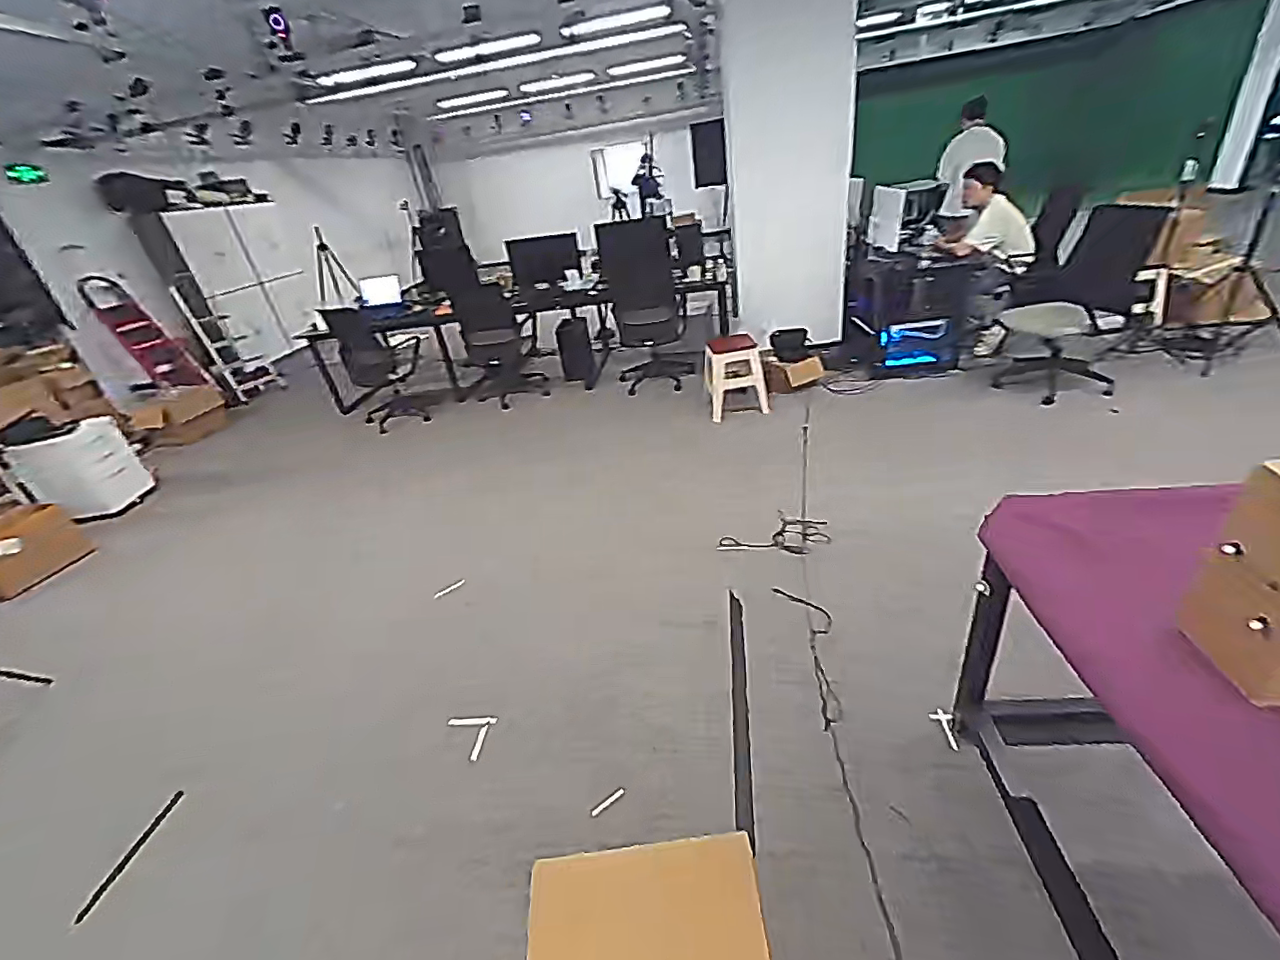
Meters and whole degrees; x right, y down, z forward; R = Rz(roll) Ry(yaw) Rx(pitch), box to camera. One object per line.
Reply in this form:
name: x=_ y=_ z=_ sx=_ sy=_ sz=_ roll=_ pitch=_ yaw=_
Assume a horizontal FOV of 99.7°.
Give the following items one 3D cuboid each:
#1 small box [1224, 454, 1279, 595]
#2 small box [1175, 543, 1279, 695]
small box: x=0.978 y=0.071 z=0.745 sx=0.179 sy=0.176 sz=0.168 roll=-4 pitch=31 yaw=8
small box: x=0.994 y=0.212 z=0.828 sx=0.168 sy=0.176 sz=0.179 roll=-4 pitch=30 yaw=10
